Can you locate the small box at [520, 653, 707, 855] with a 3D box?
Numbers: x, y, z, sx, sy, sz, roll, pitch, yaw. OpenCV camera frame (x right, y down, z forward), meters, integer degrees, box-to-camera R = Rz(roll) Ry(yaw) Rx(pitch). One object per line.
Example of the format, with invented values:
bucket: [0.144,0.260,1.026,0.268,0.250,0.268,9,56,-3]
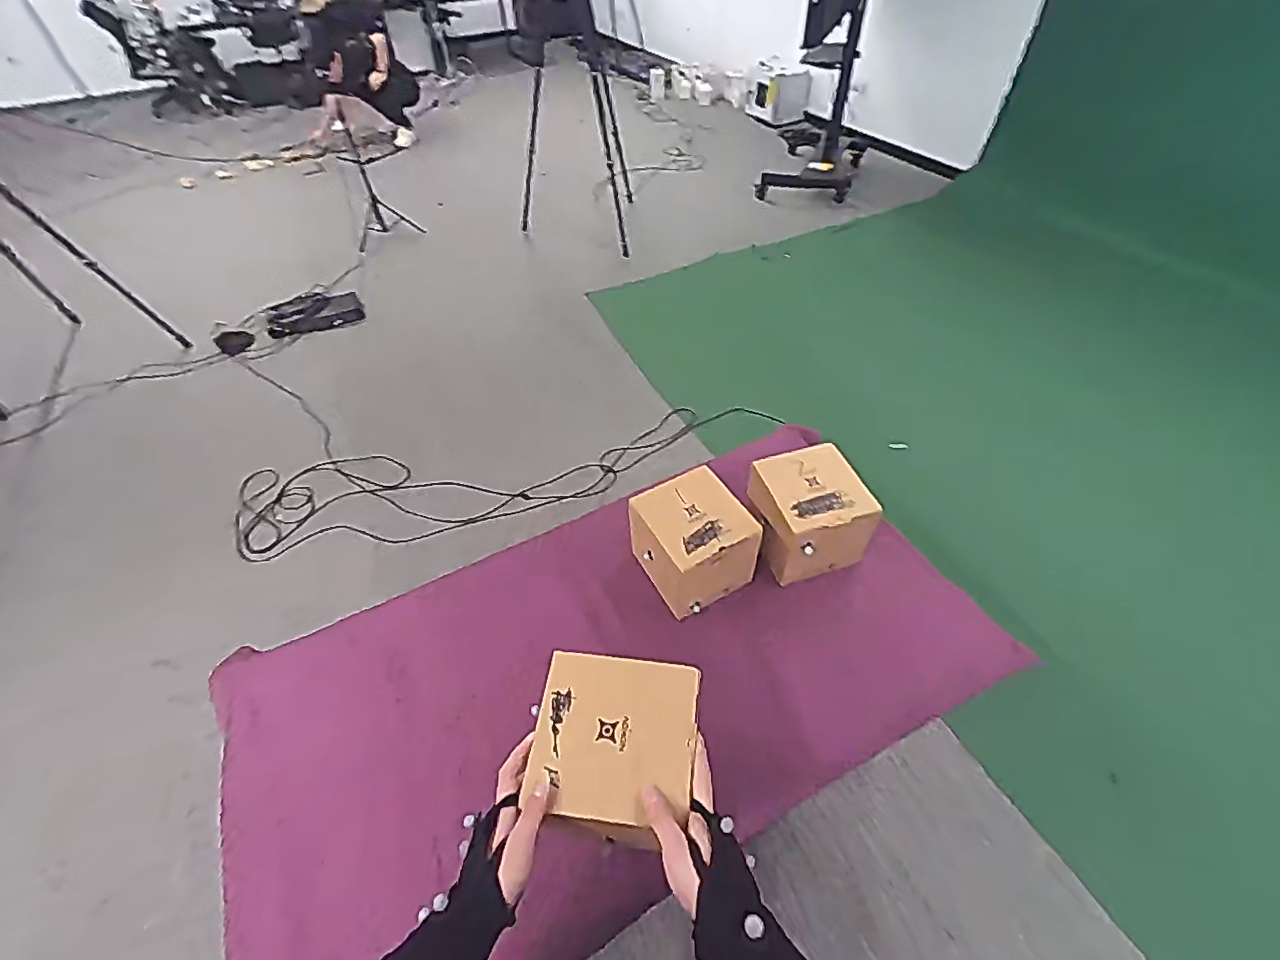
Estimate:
small box: [-0.021,0.326,0.637,0.179,0.176,0.168,6,50,7]
